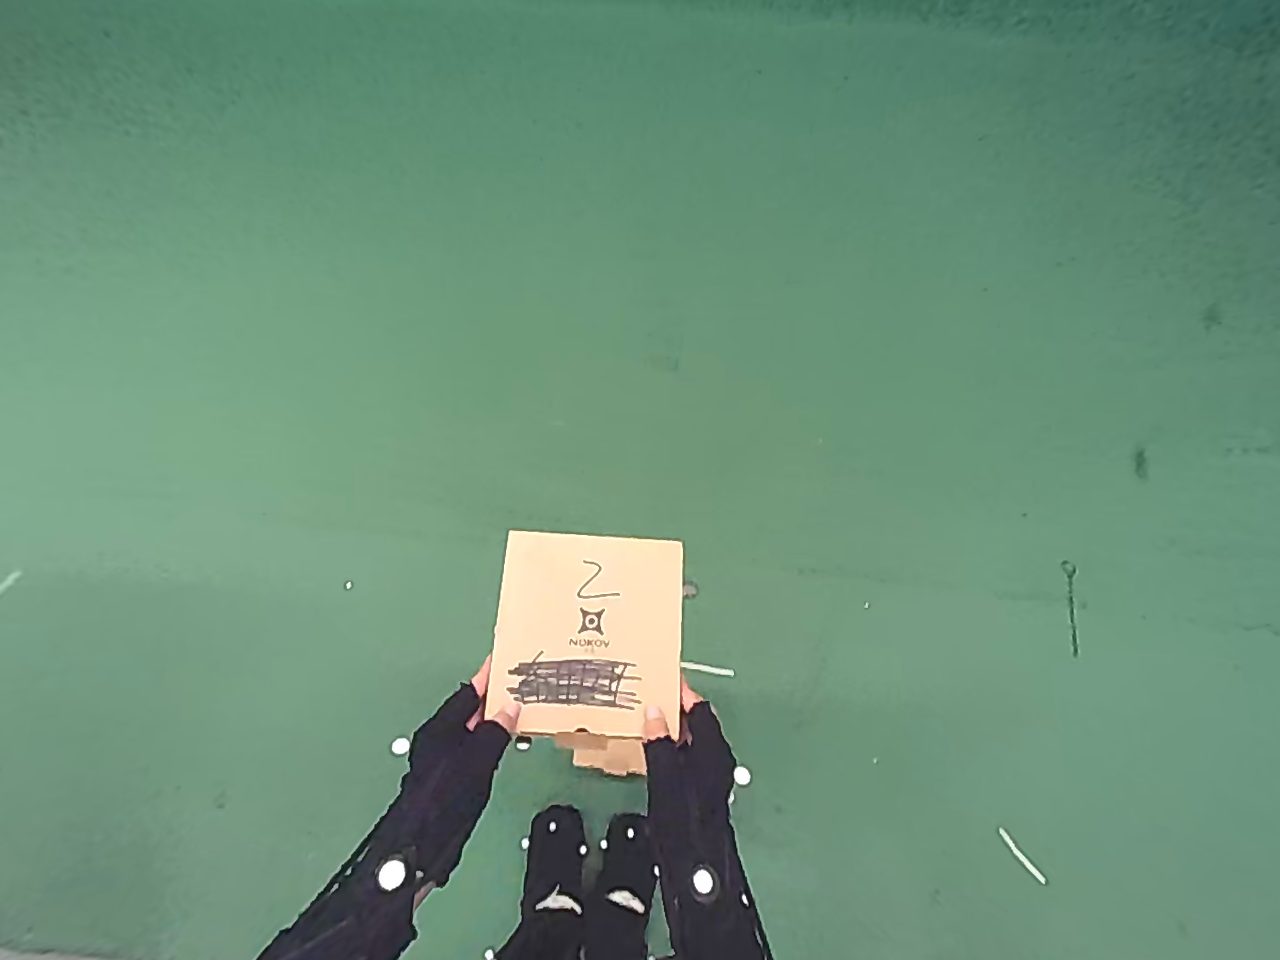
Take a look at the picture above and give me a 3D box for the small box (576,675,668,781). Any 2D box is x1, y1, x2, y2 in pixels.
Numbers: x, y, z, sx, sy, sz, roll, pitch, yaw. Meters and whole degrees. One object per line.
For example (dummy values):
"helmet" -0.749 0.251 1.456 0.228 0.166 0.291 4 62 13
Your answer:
"small box" -0.034 0.515 1.135 0.168 0.176 0.179 6 68 3
